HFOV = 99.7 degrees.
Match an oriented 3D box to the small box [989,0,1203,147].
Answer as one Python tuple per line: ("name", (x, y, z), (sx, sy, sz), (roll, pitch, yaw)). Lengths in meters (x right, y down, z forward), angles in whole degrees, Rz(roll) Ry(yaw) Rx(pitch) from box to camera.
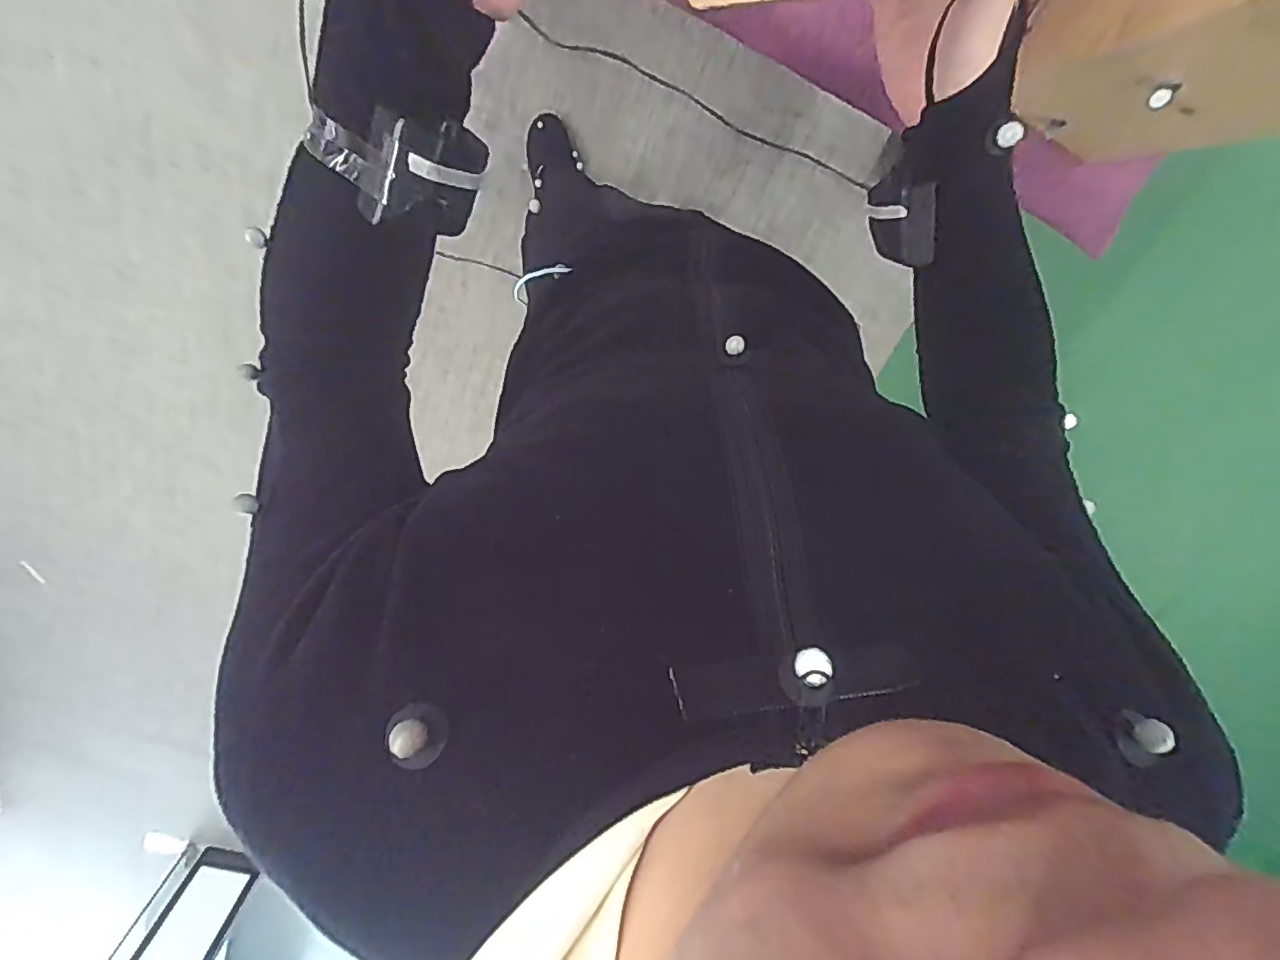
("small box", (0.532, -0.482, 0.574), (0.179, 0.176, 0.168), (25, 113, -12))
